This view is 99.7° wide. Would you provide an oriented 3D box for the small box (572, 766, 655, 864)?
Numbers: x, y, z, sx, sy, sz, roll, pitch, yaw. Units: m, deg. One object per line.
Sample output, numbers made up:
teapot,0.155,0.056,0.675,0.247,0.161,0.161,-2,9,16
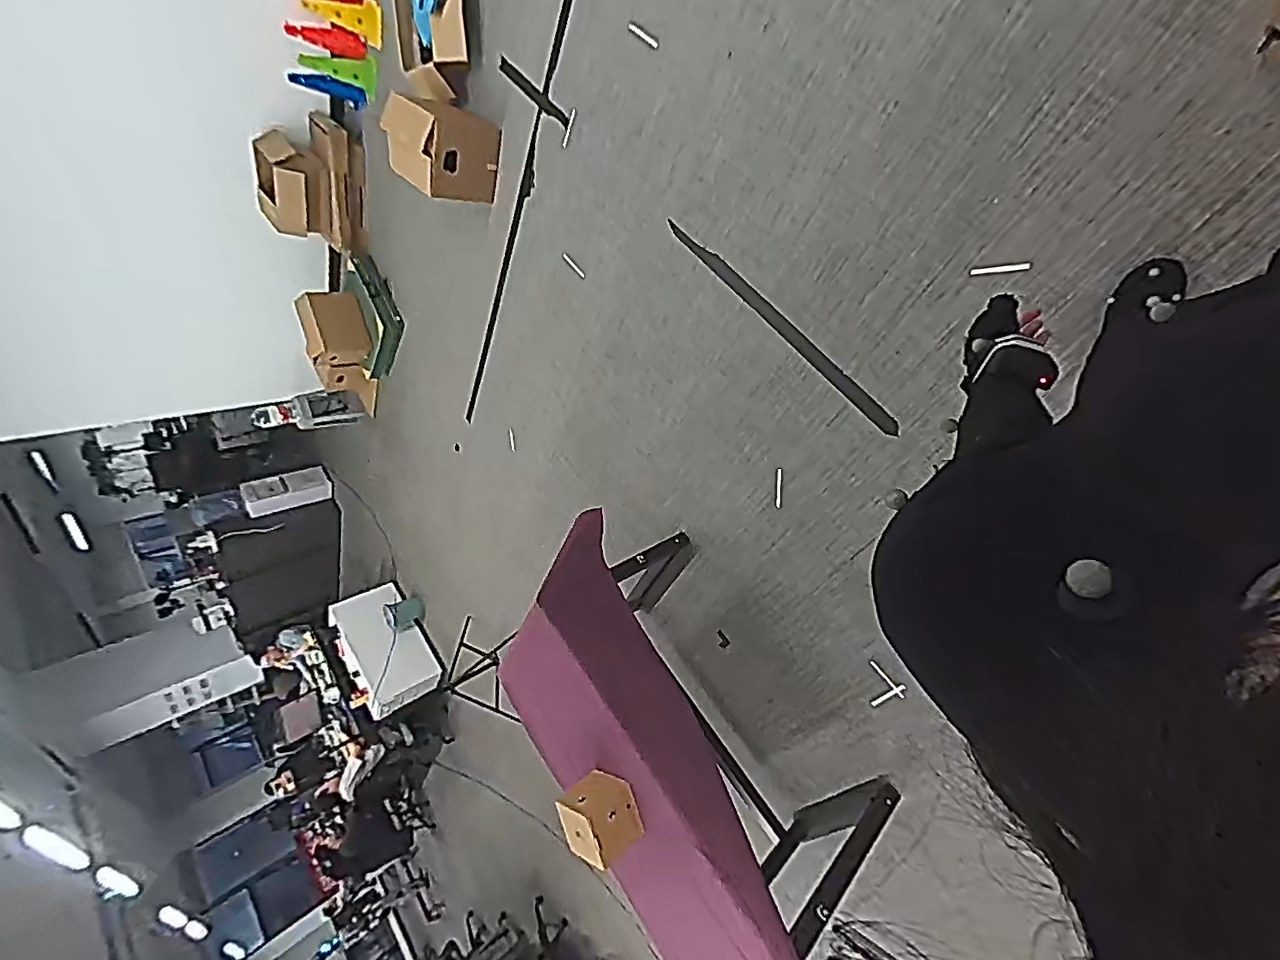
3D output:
small box,-0.074,1.004,1.639,0.179,0.176,0.168,-16,92,51
